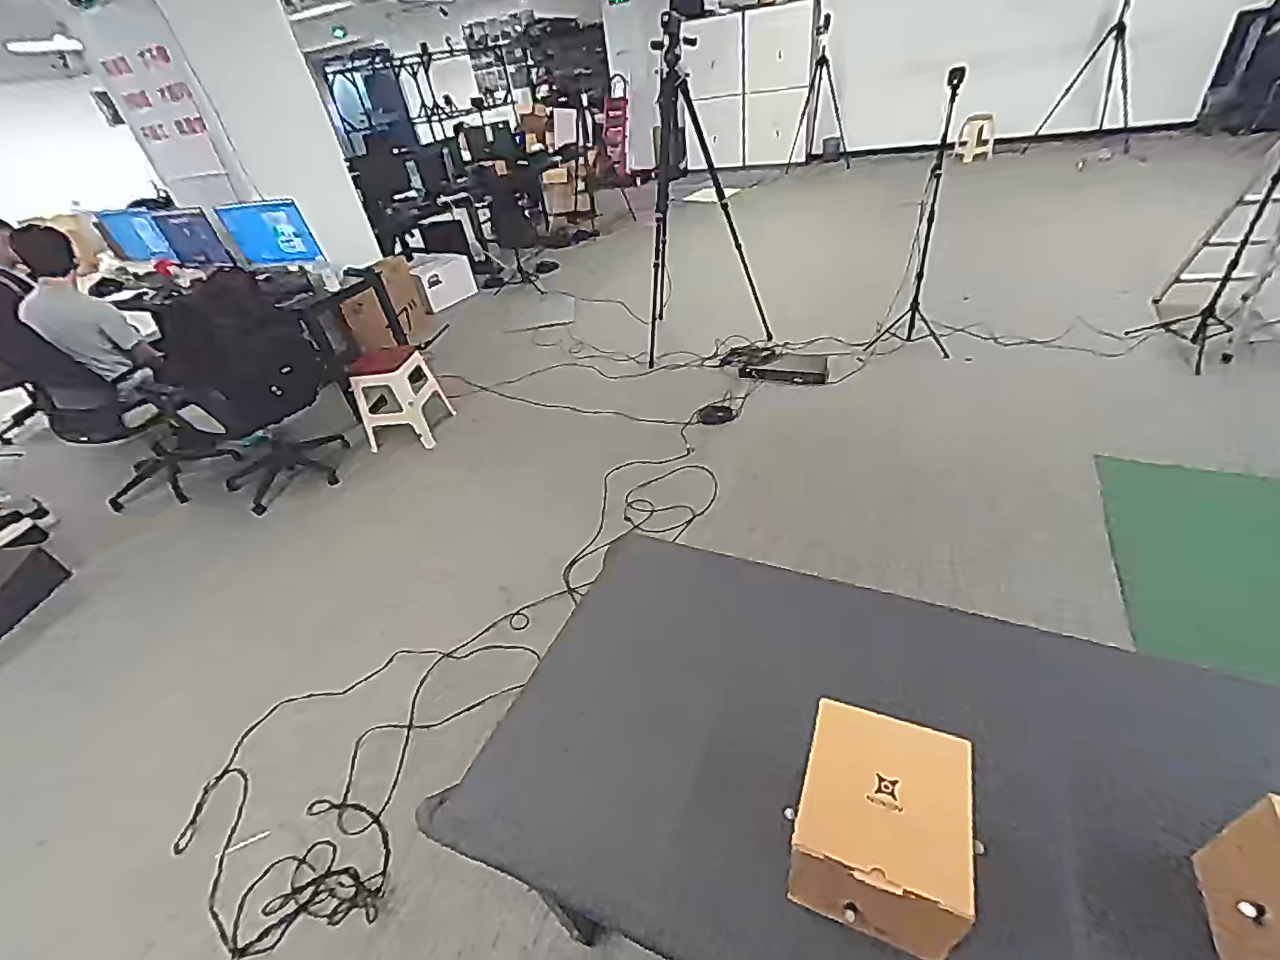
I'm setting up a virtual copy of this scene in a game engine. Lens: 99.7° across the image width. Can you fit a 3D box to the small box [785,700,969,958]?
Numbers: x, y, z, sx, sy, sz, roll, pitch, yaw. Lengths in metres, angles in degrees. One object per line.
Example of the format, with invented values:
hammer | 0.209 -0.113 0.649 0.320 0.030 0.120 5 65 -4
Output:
small box | 0.269 0.400 0.630 0.168 0.176 0.179 10 42 22
